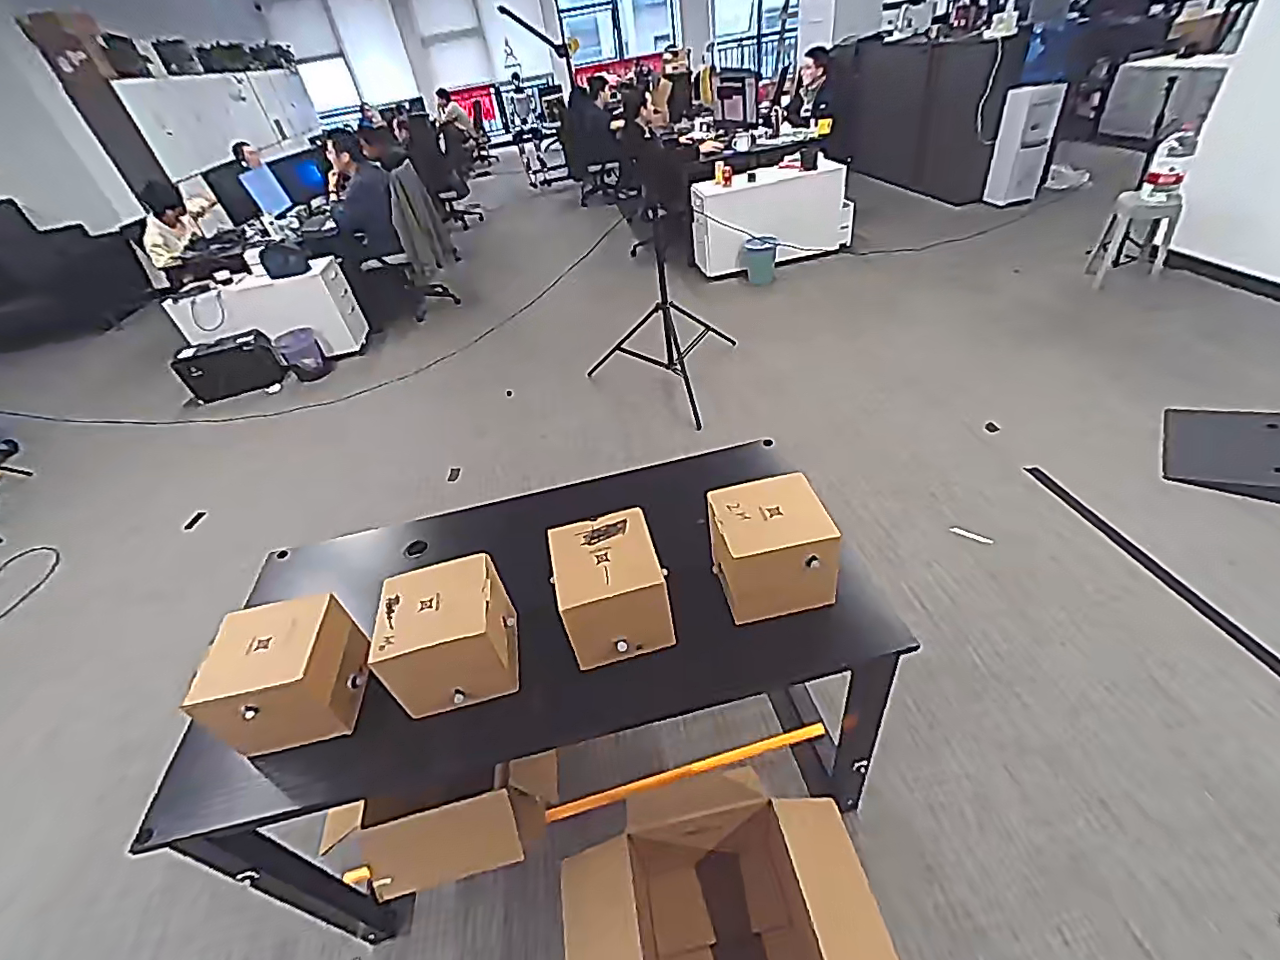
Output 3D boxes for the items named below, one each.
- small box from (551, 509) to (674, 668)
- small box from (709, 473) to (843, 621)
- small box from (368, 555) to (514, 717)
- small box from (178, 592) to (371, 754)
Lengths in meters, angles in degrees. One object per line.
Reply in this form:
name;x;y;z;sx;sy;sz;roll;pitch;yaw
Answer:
small box;-0.047;0.182;0.912;0.168;0.176;0.179;-15;40;-5
small box;0.224;0.116;0.928;0.179;0.176;0.168;-12;38;-1
small box;-0.308;0.254;0.882;0.179;0.176;0.168;-14;39;-5
small box;-0.564;0.312;0.869;0.179;0.176;0.168;-12;40;-4
